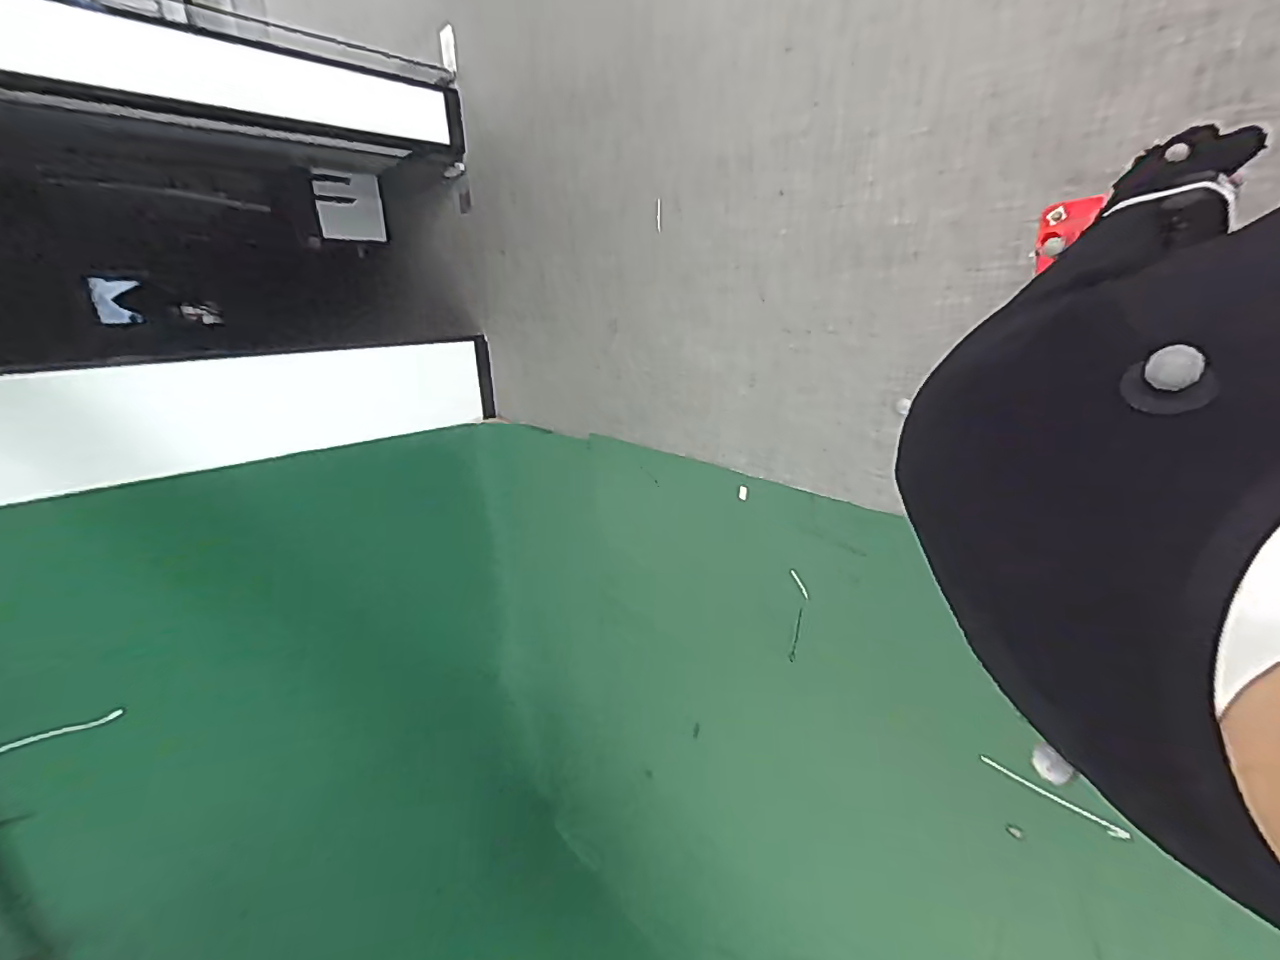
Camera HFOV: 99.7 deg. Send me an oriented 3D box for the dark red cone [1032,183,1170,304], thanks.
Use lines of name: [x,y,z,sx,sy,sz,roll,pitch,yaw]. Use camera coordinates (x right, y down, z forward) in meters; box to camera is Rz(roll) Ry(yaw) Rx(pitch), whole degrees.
dark red cone: [0.794,-0.424,0.980,0.202,0.394,0.201,11,113,47]
